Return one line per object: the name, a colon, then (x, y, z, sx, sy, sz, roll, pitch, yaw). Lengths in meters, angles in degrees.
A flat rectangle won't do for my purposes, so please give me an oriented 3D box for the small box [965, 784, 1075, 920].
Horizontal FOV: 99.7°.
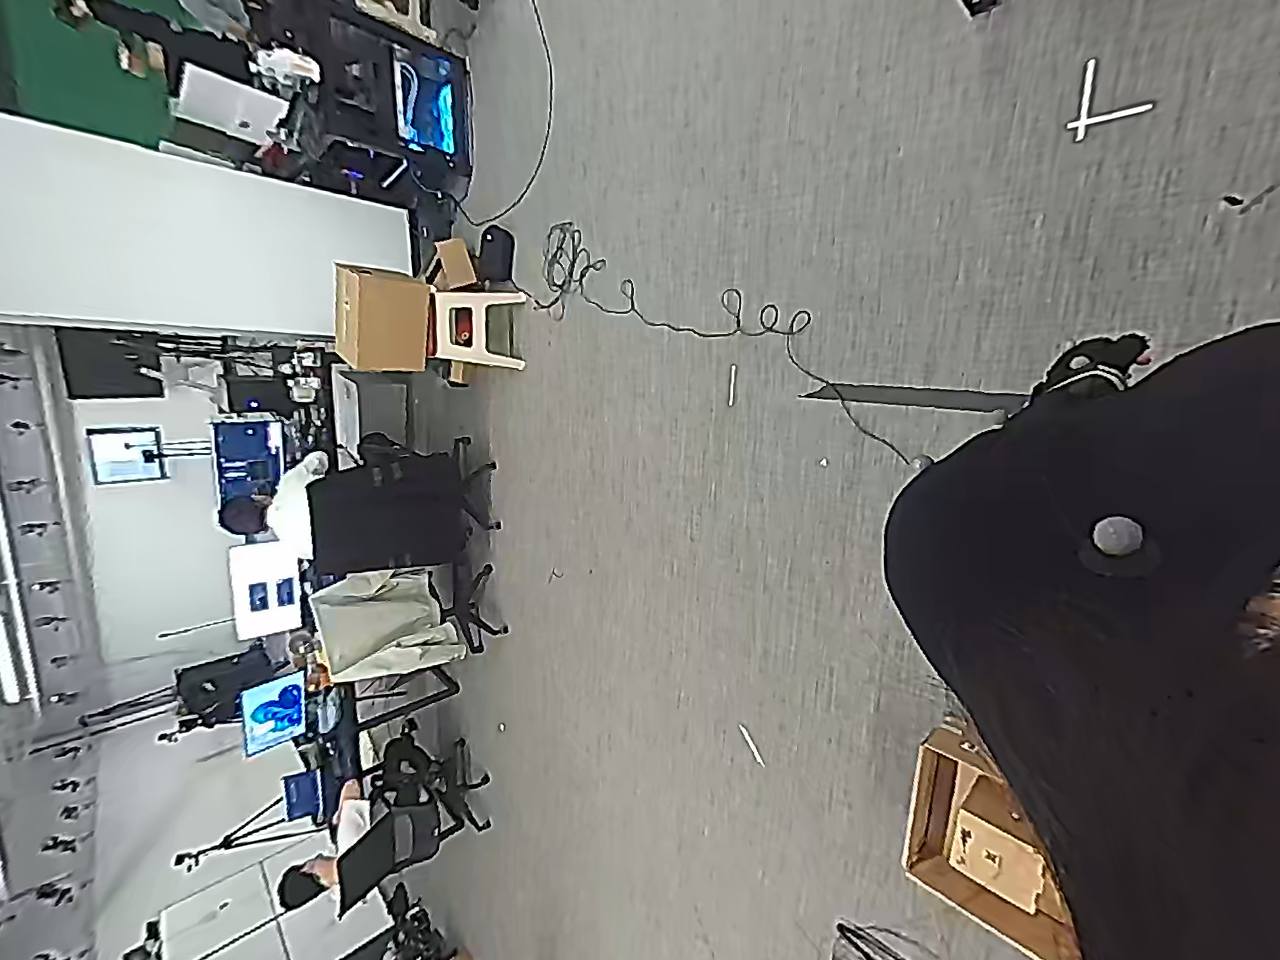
small box: (0.903, 0.866, 1.283, 0.179, 0.176, 0.168, 13, 105, 44)
